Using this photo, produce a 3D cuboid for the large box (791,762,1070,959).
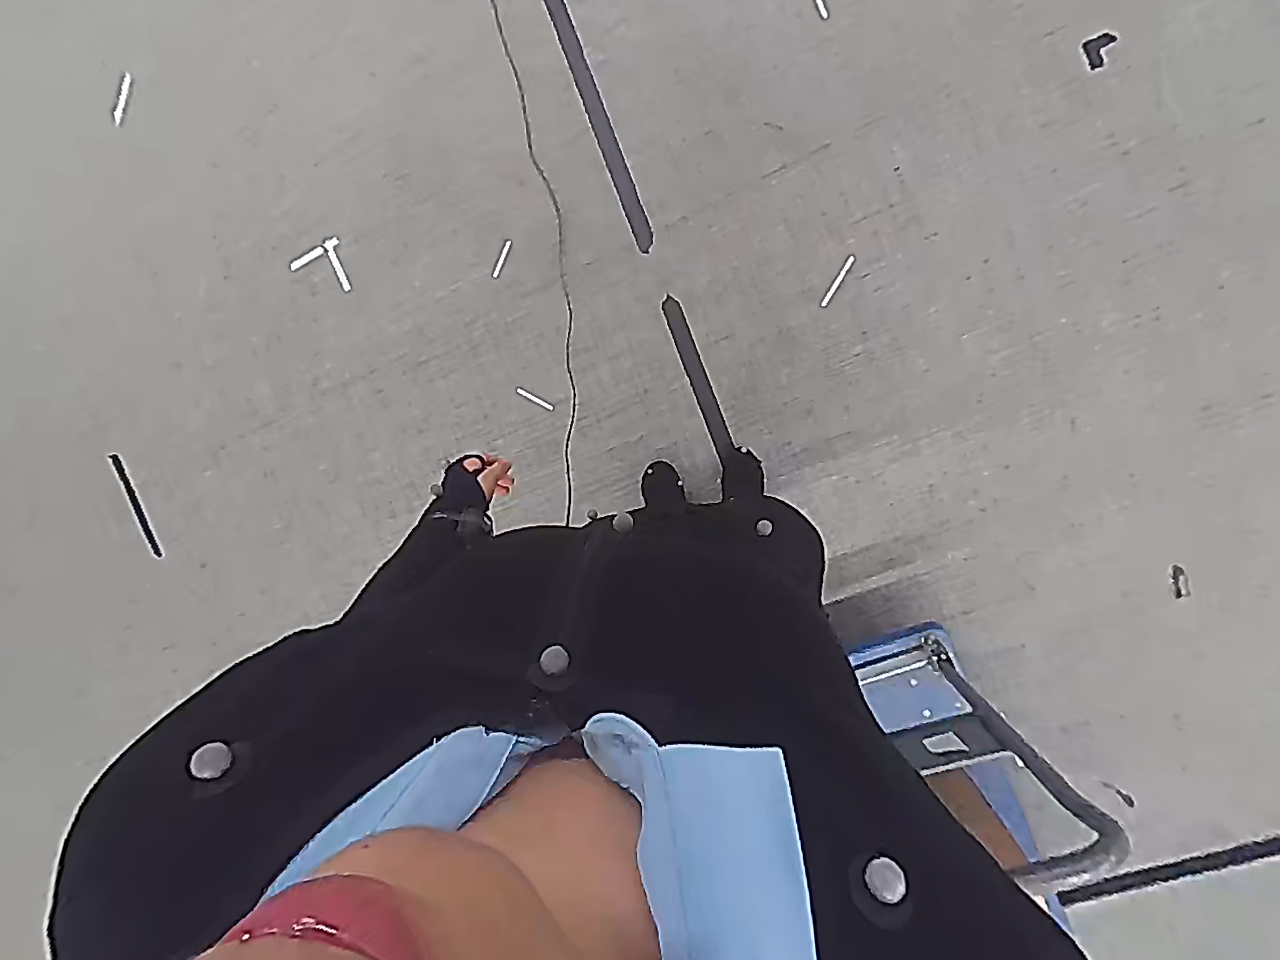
[{"bbox_3d":[0.579,0.865,1.131,0.408,0.320,0.320,-21,92,9],"label":"large box"}]
